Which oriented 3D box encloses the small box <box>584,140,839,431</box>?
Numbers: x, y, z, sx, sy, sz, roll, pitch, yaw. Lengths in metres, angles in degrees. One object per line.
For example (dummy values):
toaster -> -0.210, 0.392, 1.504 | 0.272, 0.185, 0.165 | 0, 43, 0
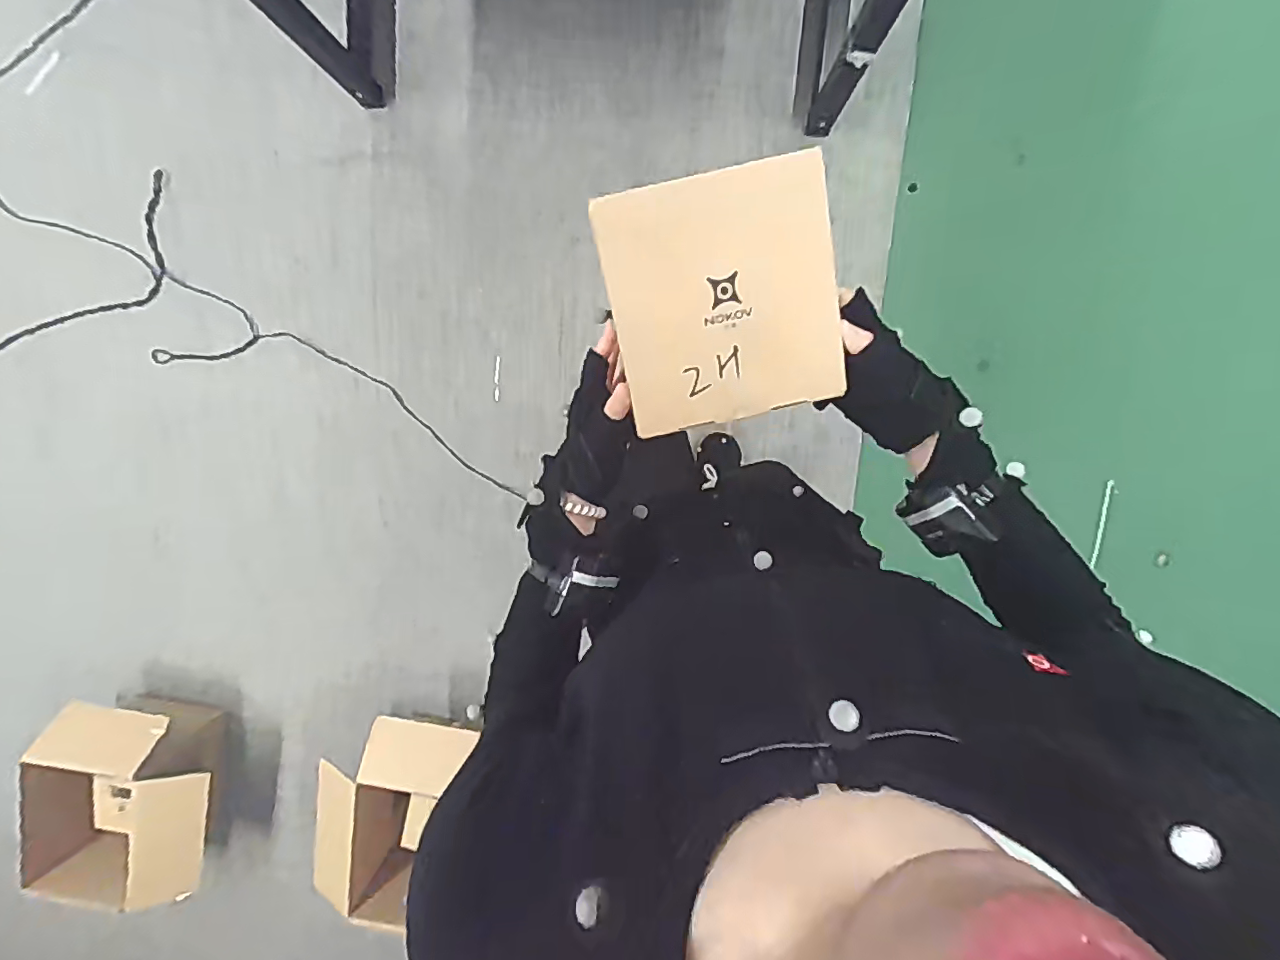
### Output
small box -> 0.052, -0.157, 0.469 | 0.168, 0.176, 0.179 | -13, 107, 2
